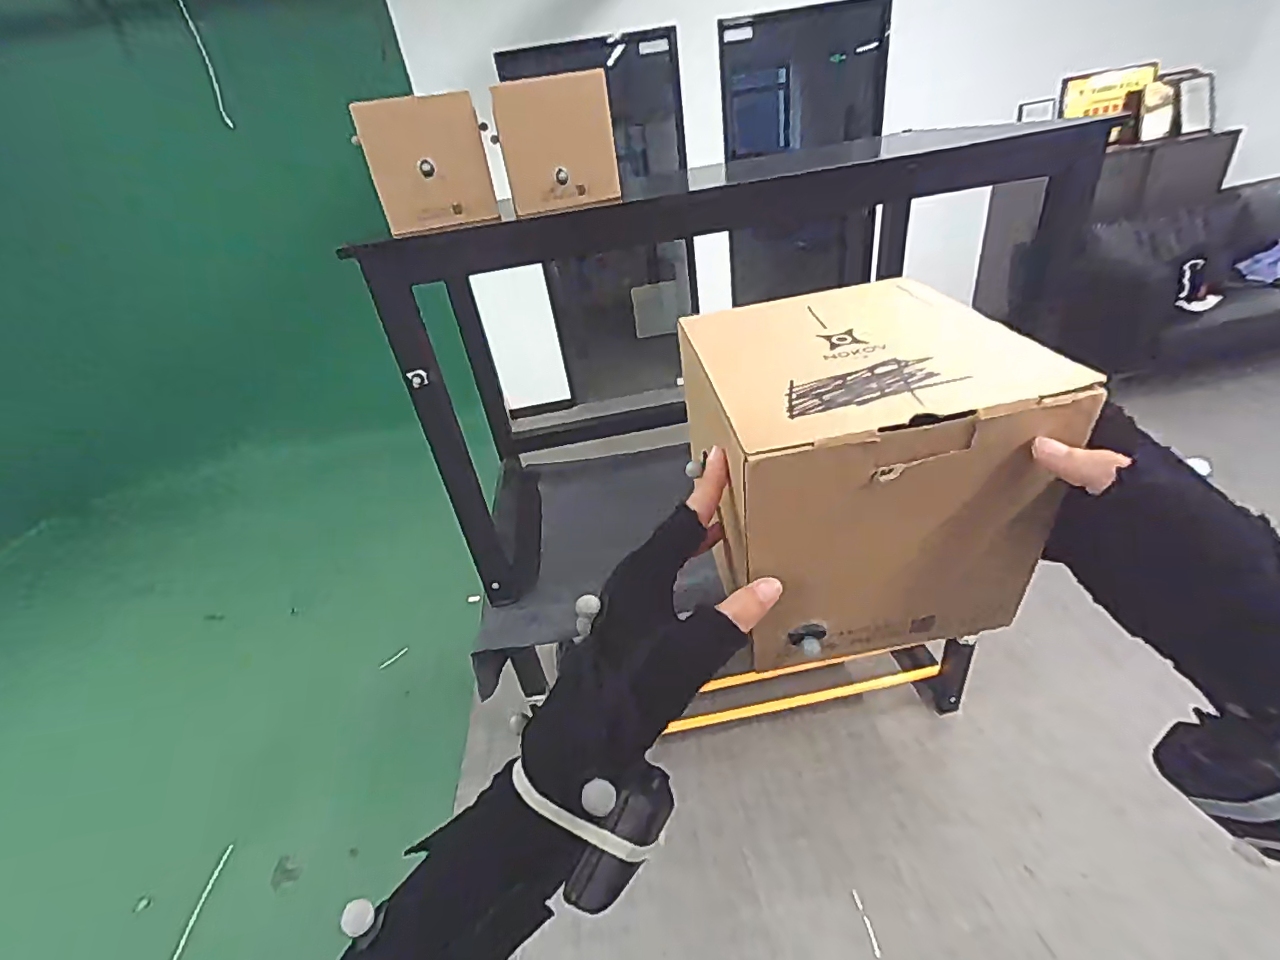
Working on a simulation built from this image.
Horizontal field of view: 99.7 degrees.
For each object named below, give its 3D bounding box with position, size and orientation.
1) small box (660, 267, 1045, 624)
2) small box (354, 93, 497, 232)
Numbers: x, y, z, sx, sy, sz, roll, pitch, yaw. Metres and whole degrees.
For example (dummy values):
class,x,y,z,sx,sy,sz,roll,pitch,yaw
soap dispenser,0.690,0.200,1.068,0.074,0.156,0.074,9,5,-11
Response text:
class,x,y,z,sx,sy,sz,roll,pitch,yaw
small box,0.114,-0.022,0.364,0.168,0.176,0.179,-10,35,0
small box,-0.332,-0.505,0.875,0.168,0.176,0.179,-13,31,-9
